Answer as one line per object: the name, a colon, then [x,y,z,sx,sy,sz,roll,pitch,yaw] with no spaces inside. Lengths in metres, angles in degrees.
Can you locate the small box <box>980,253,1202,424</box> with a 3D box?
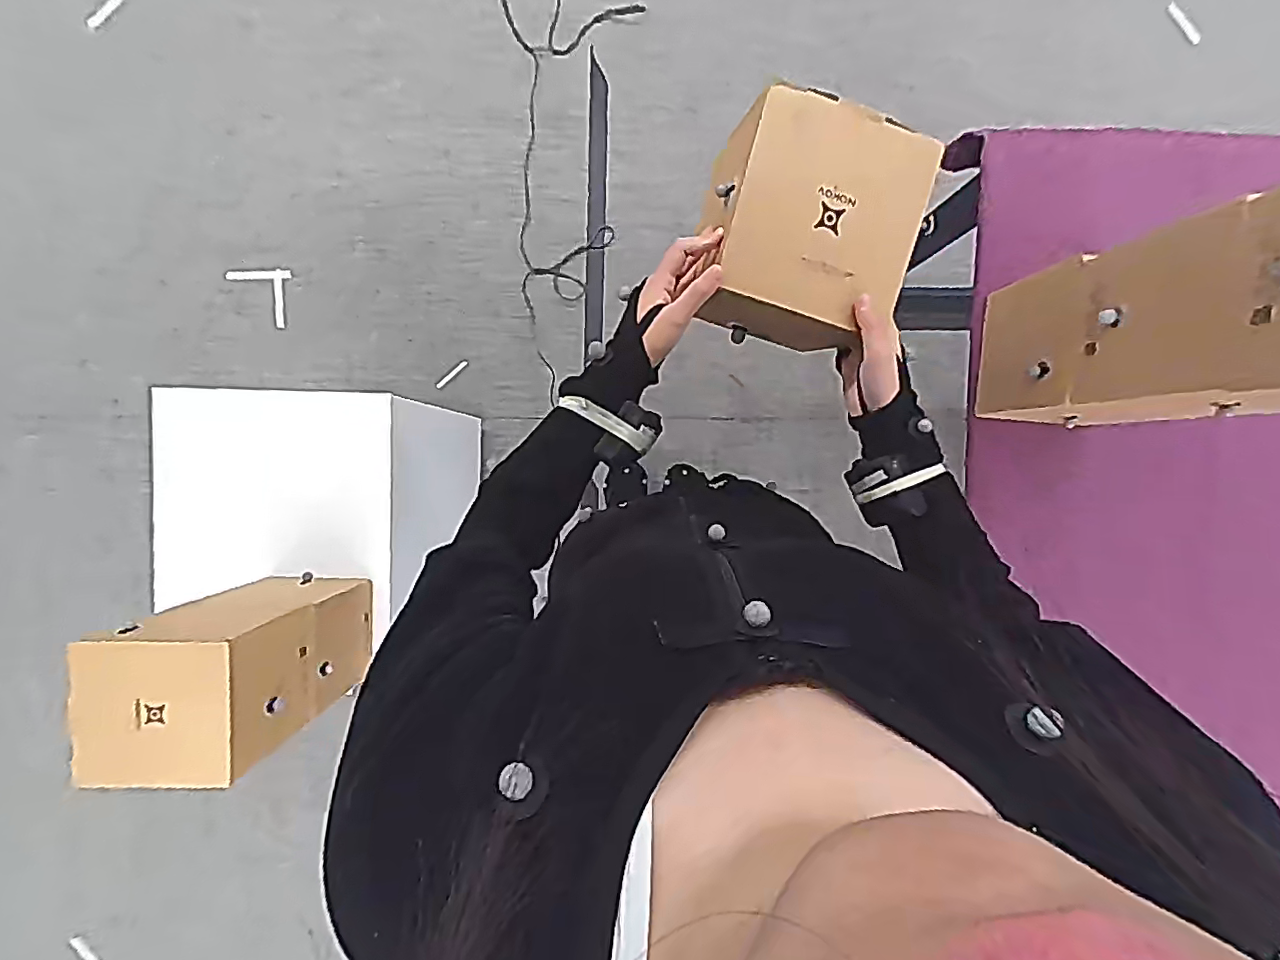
small box: [0.573,-0.167,0.695,0.168,0.176,0.179,5,92,-1]

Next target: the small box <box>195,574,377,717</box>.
small box: [-0.536,0.244,0.833,0.179,0.176,0.168,2,92,0]

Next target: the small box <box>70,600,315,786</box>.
small box: [-0.531,0.250,0.669,0.179,0.176,0.168,0,92,-1]

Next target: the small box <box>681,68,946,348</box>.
small box: [0.150,-0.241,0.533,0.168,0.176,0.179,14,98,-10]

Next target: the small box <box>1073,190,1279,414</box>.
small box: [0.584,-0.156,0.531,0.179,0.176,0.168,4,93,0]
